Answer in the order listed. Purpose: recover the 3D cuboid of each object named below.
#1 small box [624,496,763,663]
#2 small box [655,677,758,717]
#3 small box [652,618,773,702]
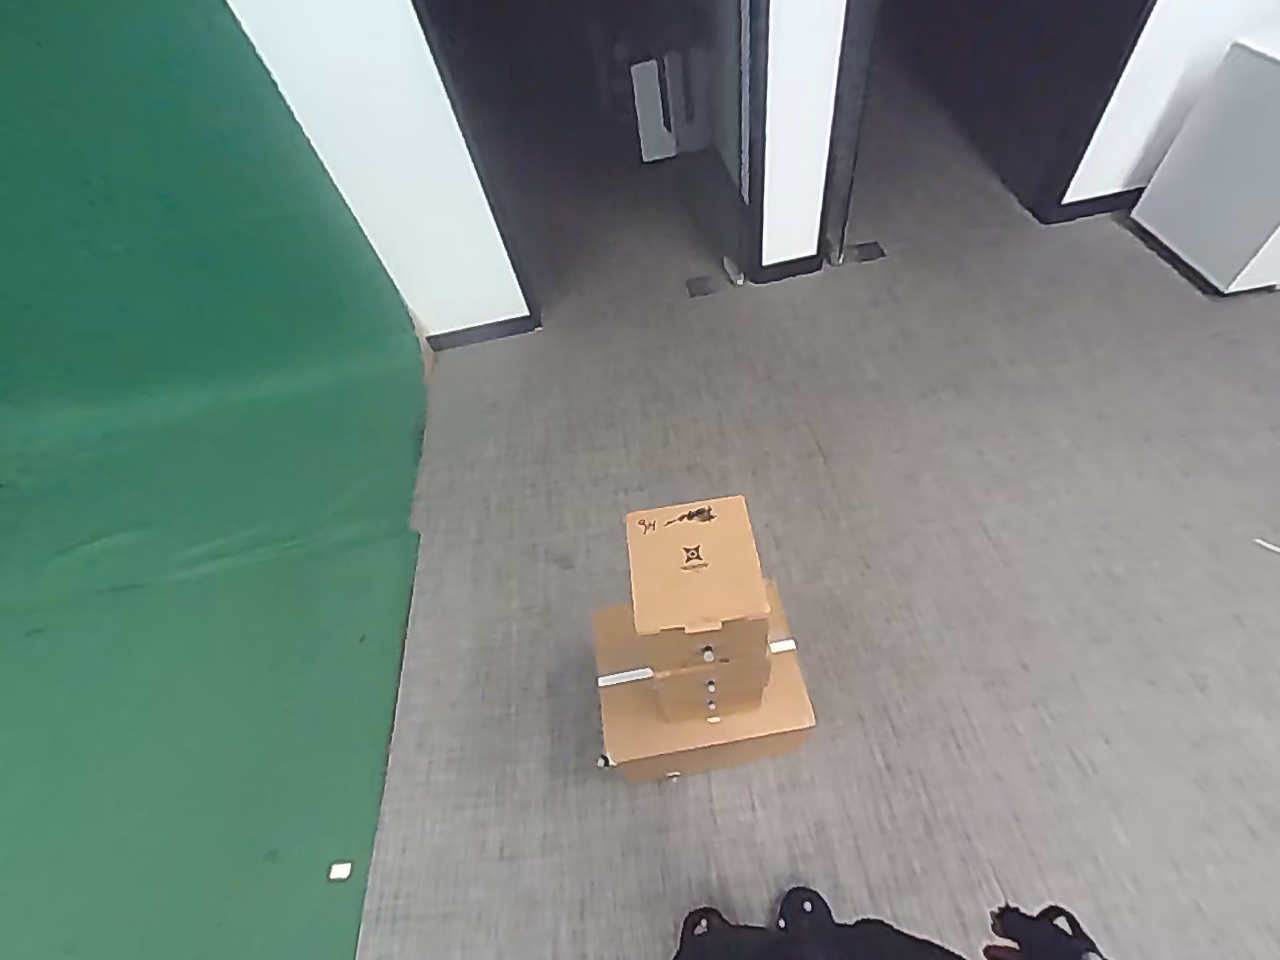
[{"bbox_3d":[0.076,0.148,0.760,0.168,0.176,0.179,-9,55,5],"label":"small box"},{"bbox_3d":[0.119,0.338,1.023,0.179,0.176,0.168,-9,55,2],"label":"small box"},{"bbox_3d":[0.103,0.248,0.886,0.179,0.176,0.168,-13,55,0],"label":"small box"}]
